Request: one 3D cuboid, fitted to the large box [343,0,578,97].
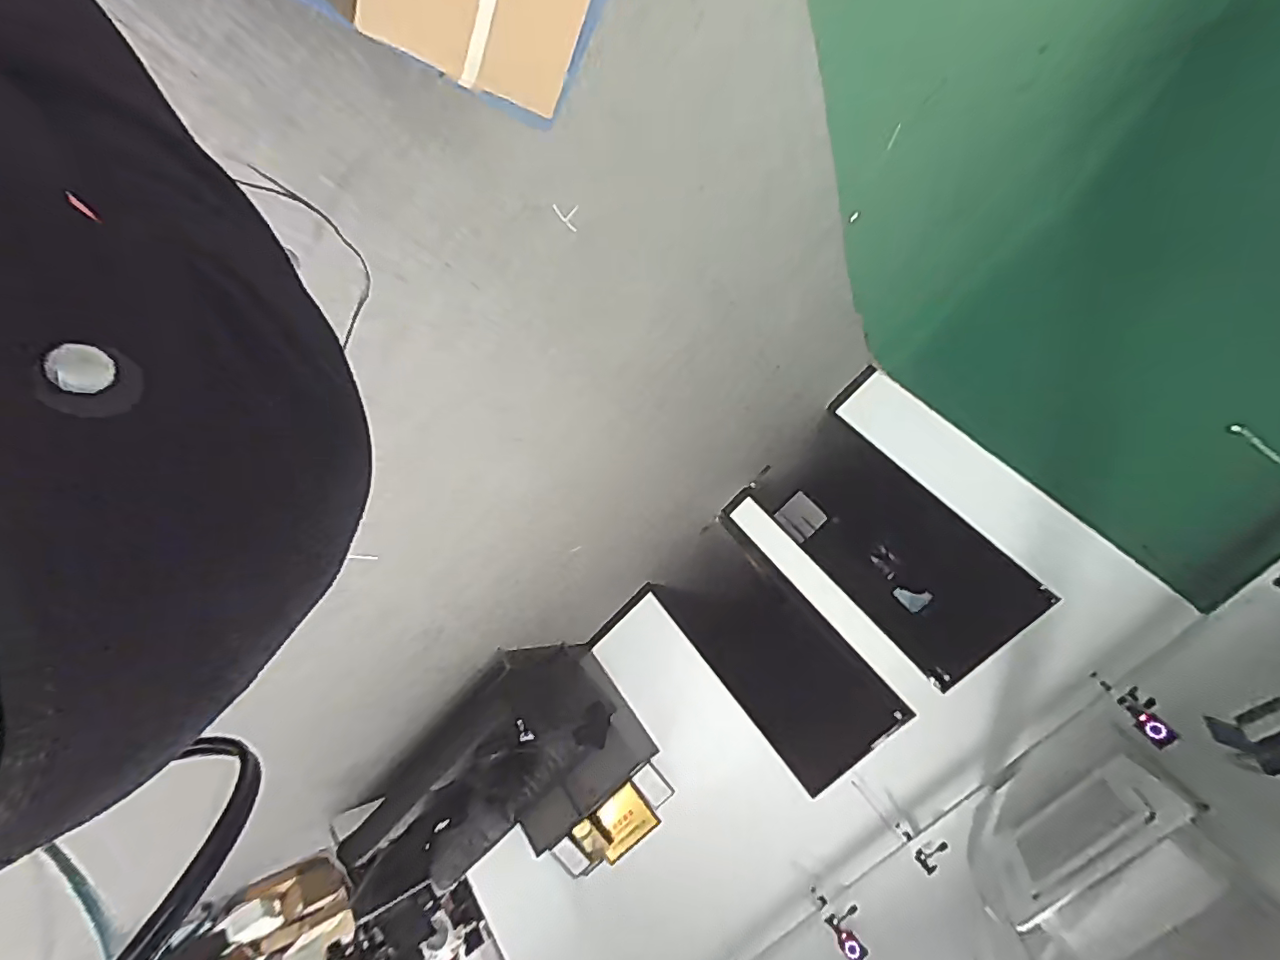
[{"bbox_3d":[-0.263,-0.879,0.784,0.320,0.320,0.408,-6,137,-42],"label":"large box"}]
